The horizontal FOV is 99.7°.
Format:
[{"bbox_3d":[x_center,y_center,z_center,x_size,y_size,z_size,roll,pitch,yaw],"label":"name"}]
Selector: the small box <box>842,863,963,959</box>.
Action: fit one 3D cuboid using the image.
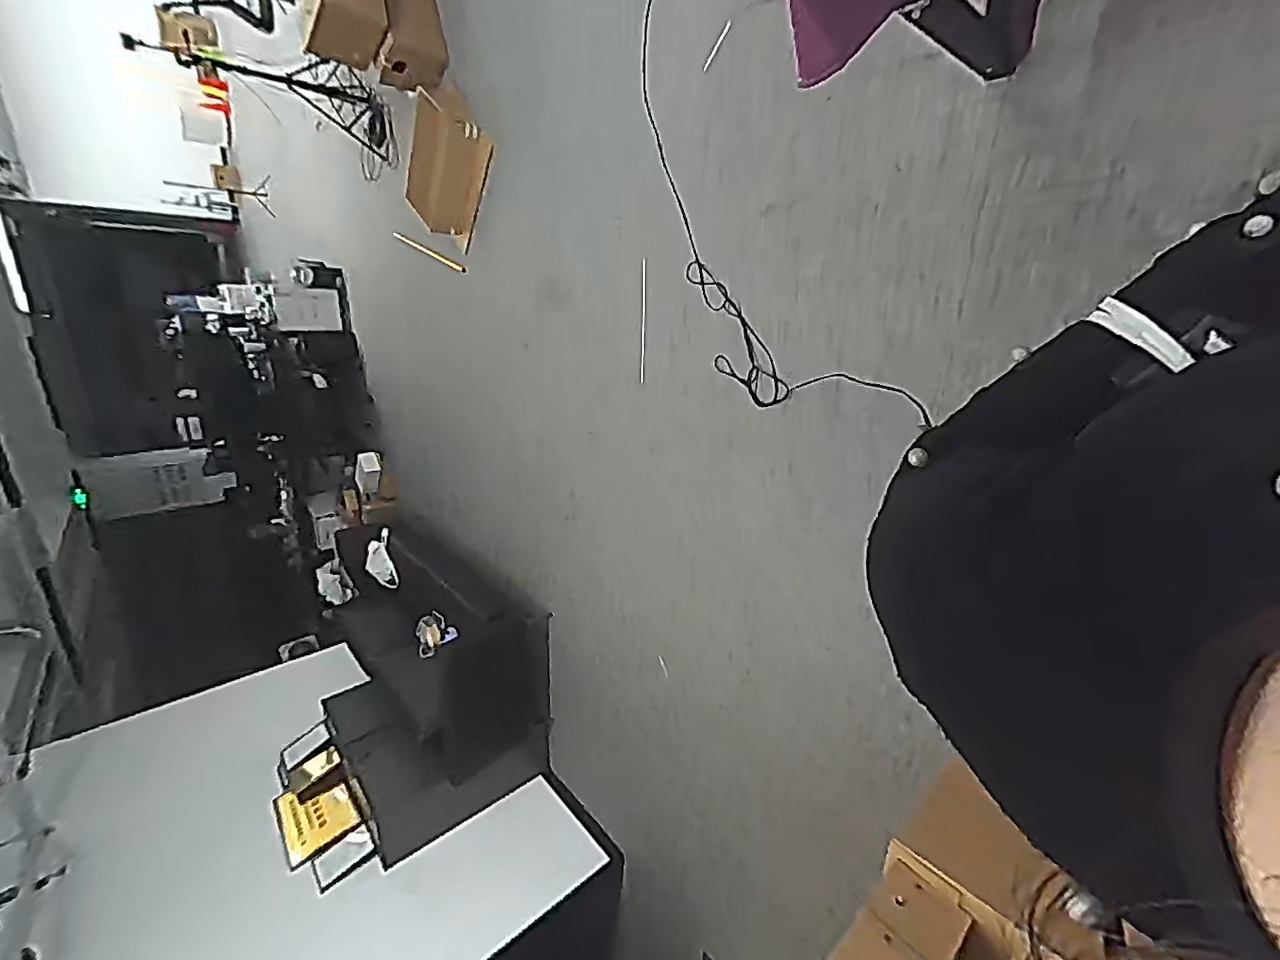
[{"bbox_3d":[0.570,0.991,1.170,0.168,0.176,0.179,26,120,43],"label":"small box"}]
